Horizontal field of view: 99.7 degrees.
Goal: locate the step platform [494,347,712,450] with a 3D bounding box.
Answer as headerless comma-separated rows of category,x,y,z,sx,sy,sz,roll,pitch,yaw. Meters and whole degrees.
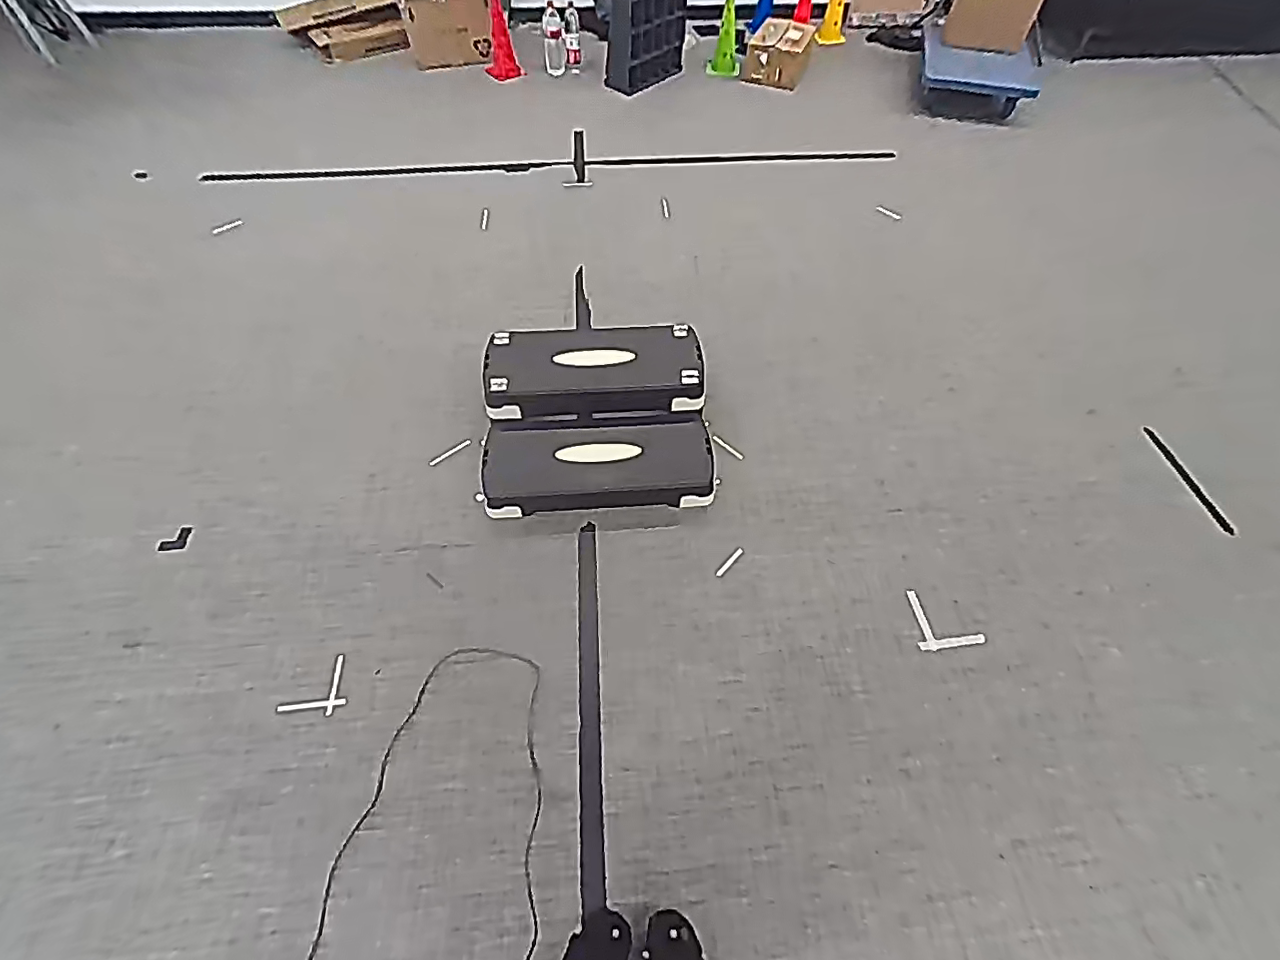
step platform,-0.114,-0.266,1.730,0.684,0.204,0.286,0,55,-1
